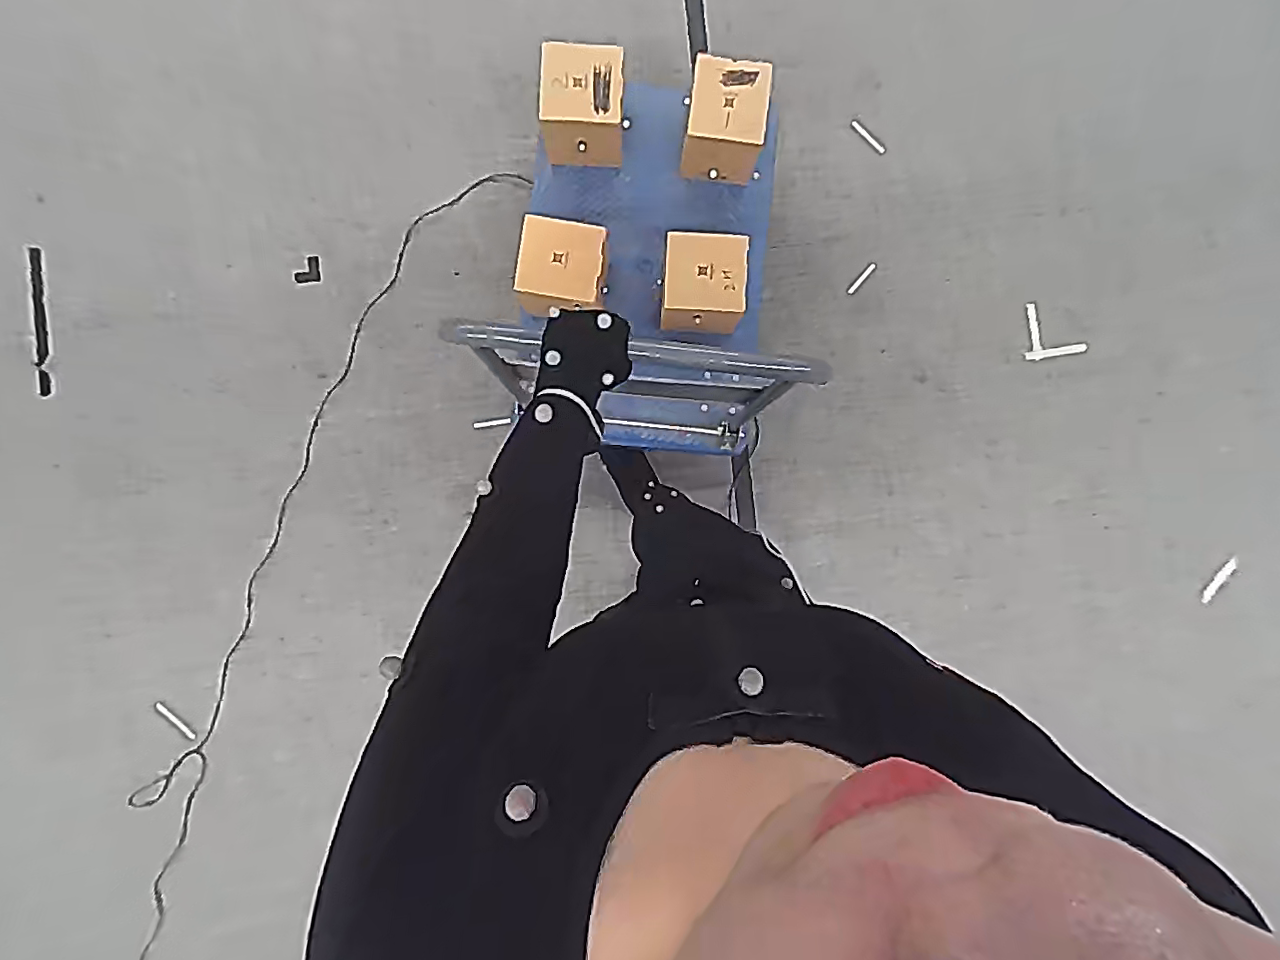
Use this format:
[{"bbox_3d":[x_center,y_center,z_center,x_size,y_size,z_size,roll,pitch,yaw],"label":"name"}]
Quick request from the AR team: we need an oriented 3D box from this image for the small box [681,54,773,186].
[{"bbox_3d":[0.190,-0.809,1.228,0.168,0.176,0.179,7,91,-2],"label":"small box"}]

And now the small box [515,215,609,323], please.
[{"bbox_3d":[-0.169,-0.466,1.219,0.179,0.176,0.168,8,89,-3],"label":"small box"}]

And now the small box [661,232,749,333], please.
[{"bbox_3d":[0.140,-0.440,1.225,0.179,0.176,0.168,3,90,-1],"label":"small box"}]
